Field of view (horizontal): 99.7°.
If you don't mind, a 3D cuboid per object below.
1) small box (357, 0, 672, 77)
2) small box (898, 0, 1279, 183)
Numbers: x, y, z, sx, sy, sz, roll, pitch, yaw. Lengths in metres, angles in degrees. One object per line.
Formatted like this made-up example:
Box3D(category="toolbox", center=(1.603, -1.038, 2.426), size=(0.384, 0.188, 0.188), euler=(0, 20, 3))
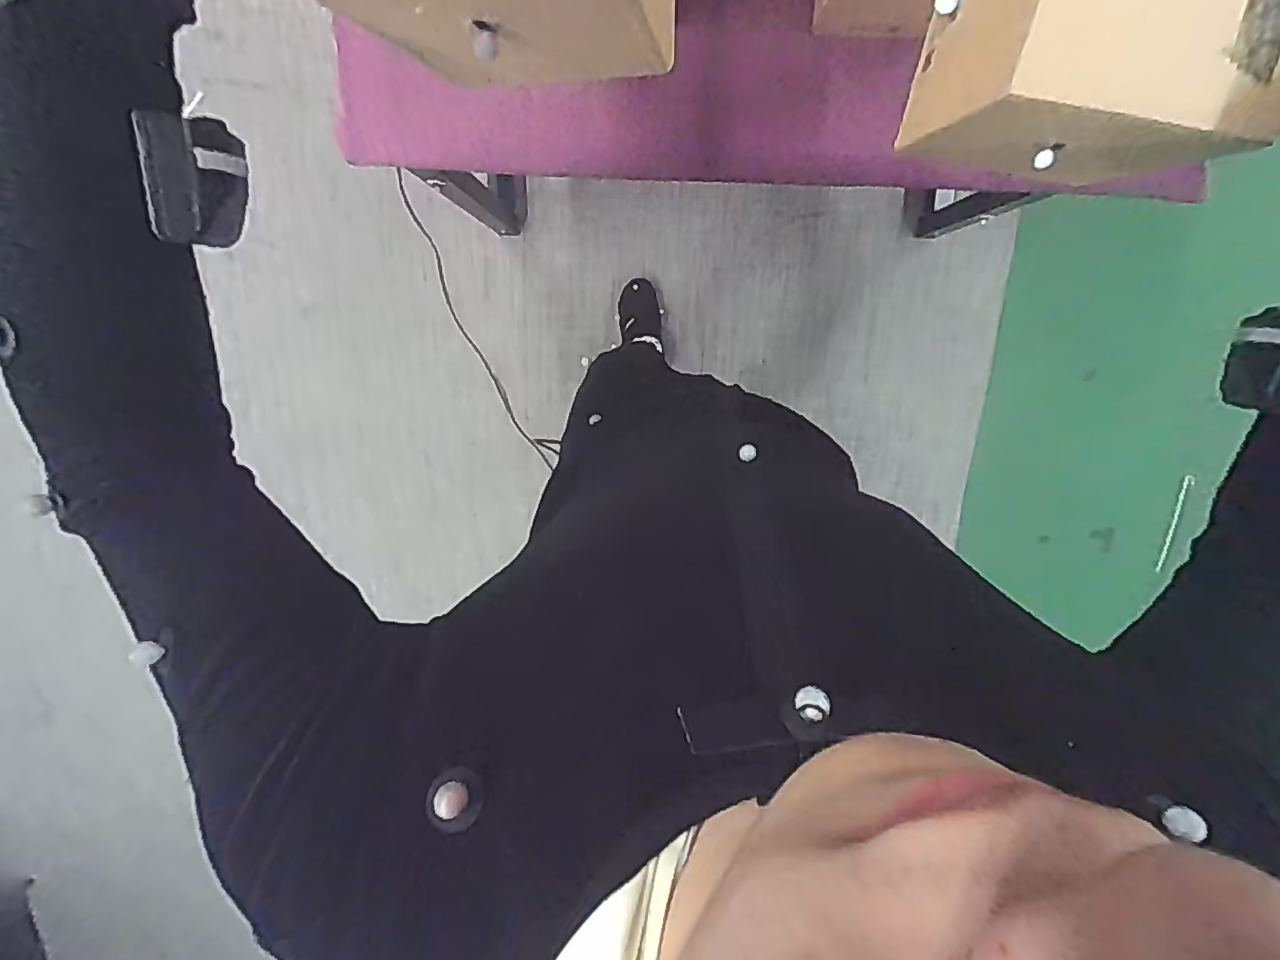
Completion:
Box3D(category="small box", center=(-0.078, -0.353, 0.305), size=(0.179, 0.176, 0.168), euler=(4, 111, 10))
Box3D(category="small box", center=(0.316, -0.316, 0.369), size=(0.179, 0.176, 0.168), euler=(9, 110, -2))
